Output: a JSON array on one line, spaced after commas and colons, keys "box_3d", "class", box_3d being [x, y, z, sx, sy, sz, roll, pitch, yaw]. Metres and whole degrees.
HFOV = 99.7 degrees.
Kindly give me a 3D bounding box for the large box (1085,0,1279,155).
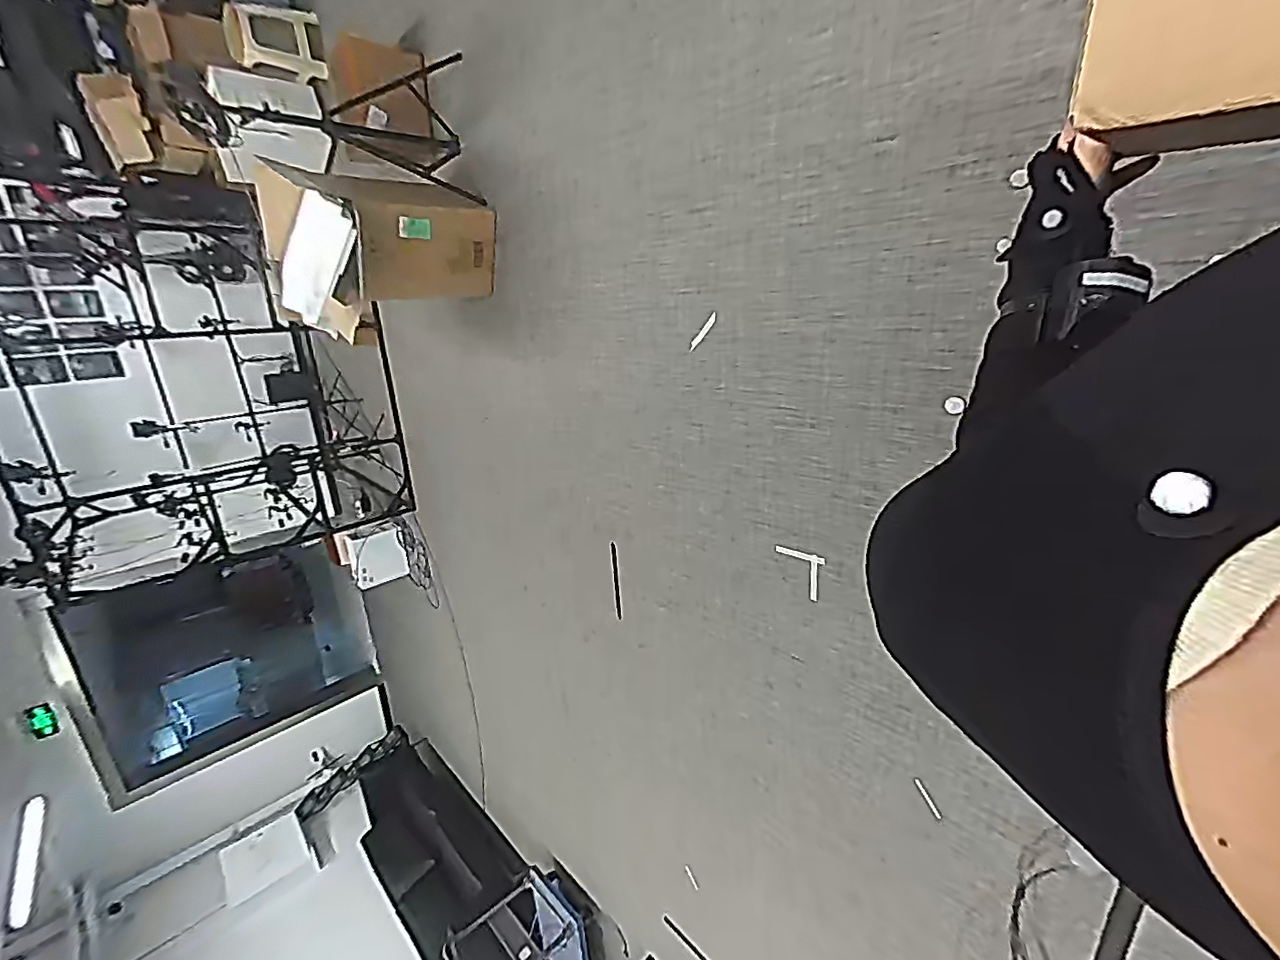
[{"box_3d": [0.428, -0.318, 0.164, 0.408, 0.320, 0.320, 14, 121, 39], "class": "large box"}]
